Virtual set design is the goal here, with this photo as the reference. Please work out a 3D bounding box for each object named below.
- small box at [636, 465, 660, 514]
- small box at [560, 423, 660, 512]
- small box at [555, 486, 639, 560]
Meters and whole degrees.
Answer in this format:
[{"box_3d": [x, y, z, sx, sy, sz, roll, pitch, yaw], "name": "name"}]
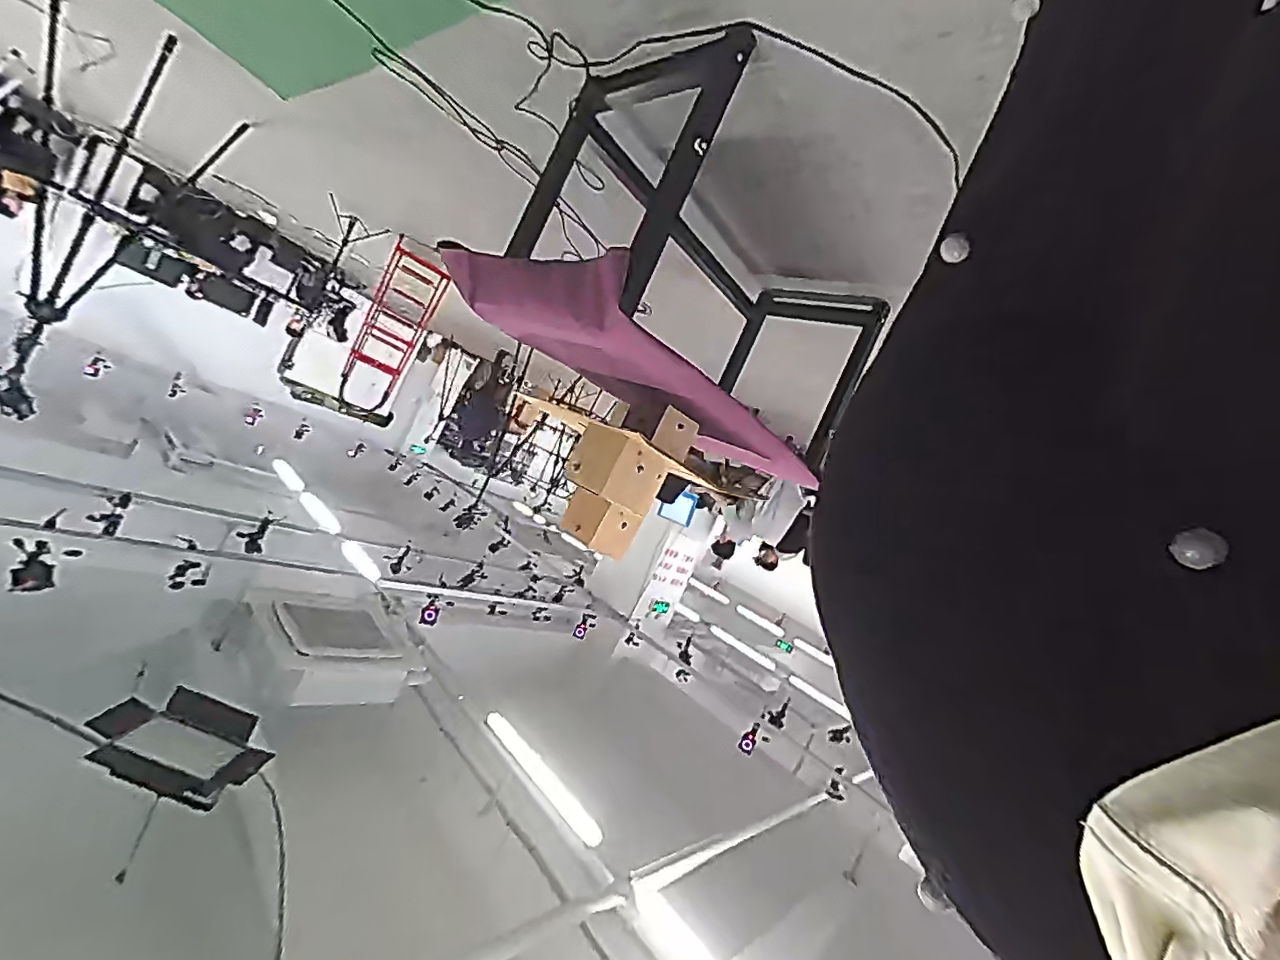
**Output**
[{"box_3d": [-0.057, -0.014, 1.725, 0.179, 0.176, 0.168, 25, 176, 44], "name": "small box"}, {"box_3d": [-0.078, -0.038, 1.462, 0.179, 0.176, 0.168, 24, 177, 43], "name": "small box"}, {"box_3d": [-0.133, 0.129, 1.725, 0.179, 0.176, 0.168, 23, 175, 45], "name": "small box"}]
